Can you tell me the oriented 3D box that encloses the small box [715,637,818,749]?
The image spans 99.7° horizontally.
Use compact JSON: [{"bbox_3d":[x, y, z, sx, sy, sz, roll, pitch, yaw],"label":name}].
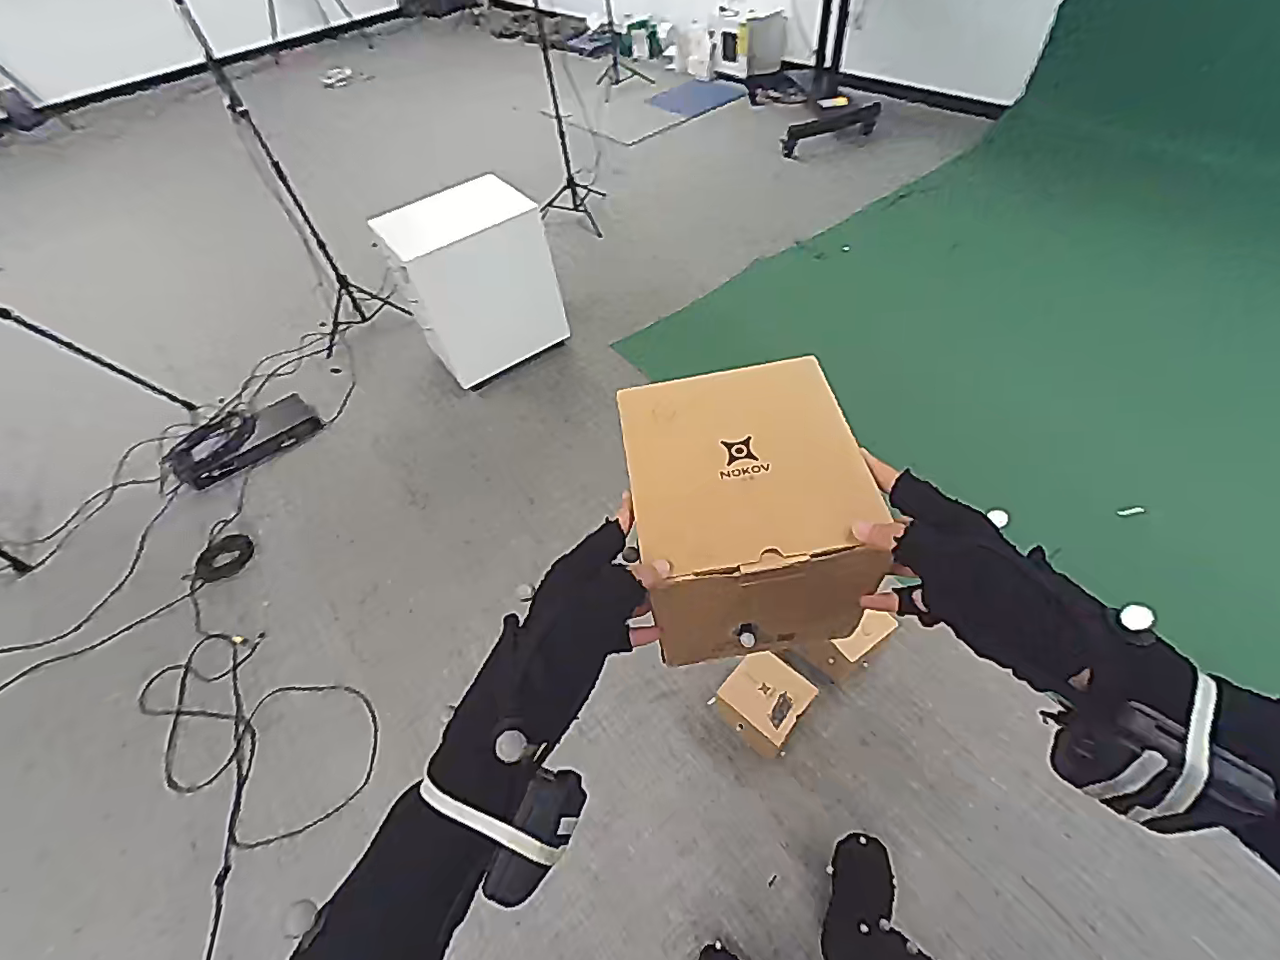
[{"bbox_3d":[0.299,0.521,1.308,0.179,0.176,0.168,34,63,29],"label":"small box"}]
